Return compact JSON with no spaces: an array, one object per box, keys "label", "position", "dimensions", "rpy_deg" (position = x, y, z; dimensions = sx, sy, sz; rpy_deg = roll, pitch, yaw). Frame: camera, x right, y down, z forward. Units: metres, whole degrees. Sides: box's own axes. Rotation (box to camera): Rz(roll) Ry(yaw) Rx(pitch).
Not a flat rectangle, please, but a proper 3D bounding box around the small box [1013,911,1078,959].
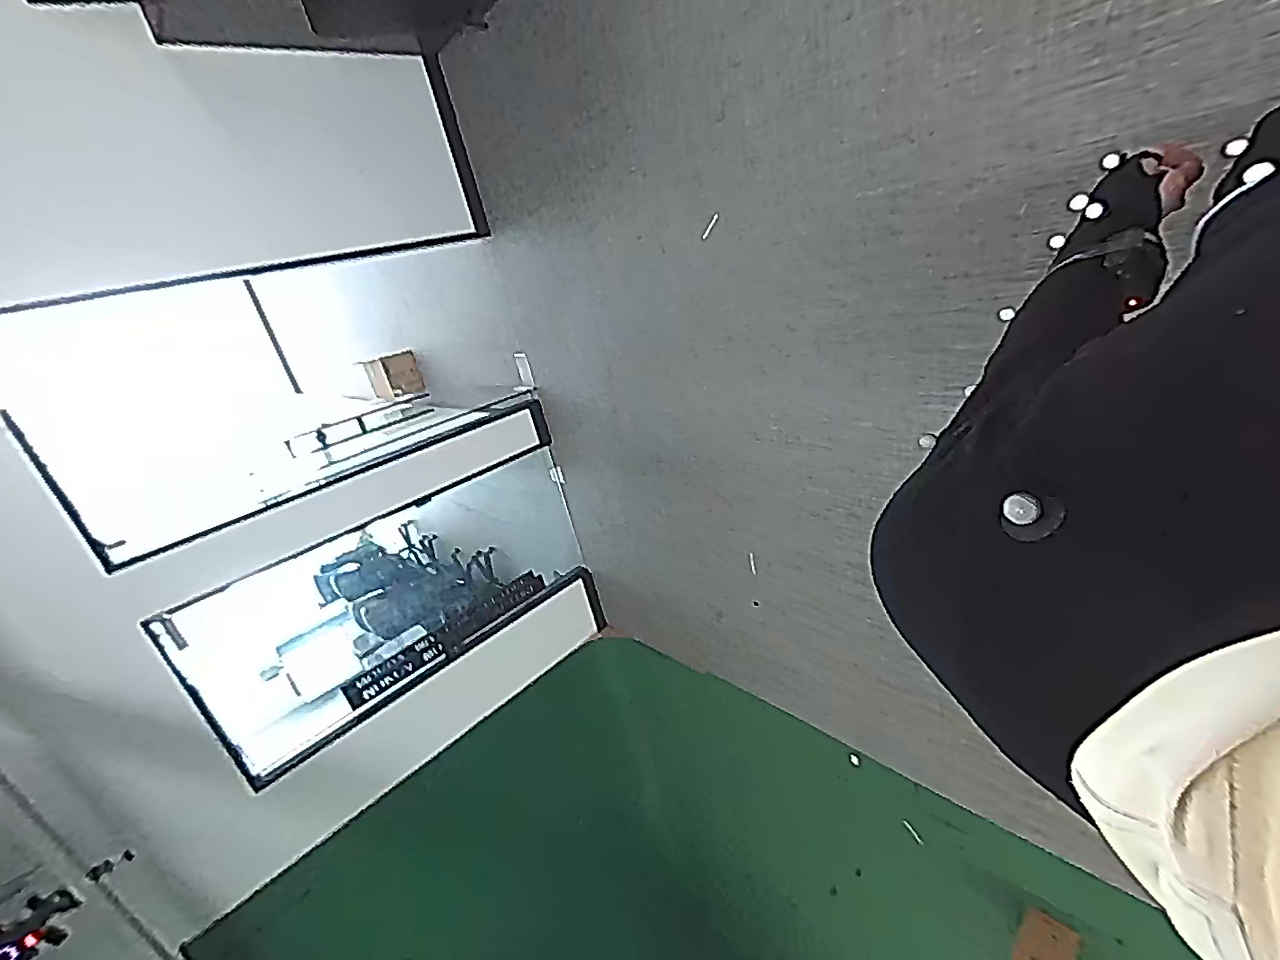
[{"label":"small box","position":[1.518,1.794,2.030],"dimensions":[0.168,0.176,0.179],"rpy_deg":[14,124,46]}]
